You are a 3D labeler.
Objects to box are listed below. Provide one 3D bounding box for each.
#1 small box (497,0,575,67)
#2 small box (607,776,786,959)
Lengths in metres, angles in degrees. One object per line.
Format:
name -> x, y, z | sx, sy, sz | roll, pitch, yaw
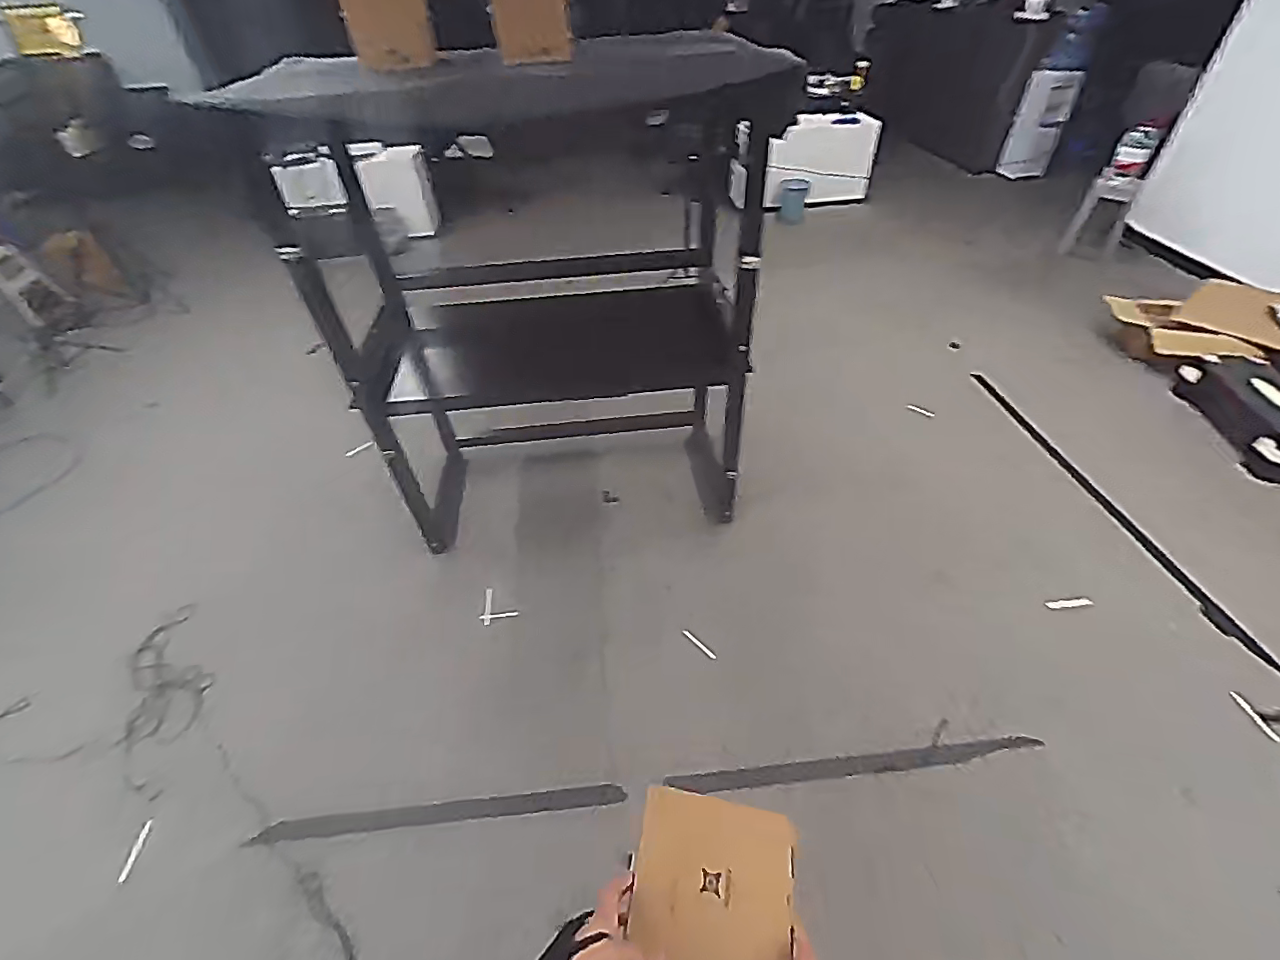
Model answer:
small box -> -0.253, -1.106, 1.297 | 0.168, 0.176, 0.179 | -10, 44, -6
small box -> 0.065, 0.482, 0.649 | 0.179, 0.176, 0.168 | 11, 48, 3
